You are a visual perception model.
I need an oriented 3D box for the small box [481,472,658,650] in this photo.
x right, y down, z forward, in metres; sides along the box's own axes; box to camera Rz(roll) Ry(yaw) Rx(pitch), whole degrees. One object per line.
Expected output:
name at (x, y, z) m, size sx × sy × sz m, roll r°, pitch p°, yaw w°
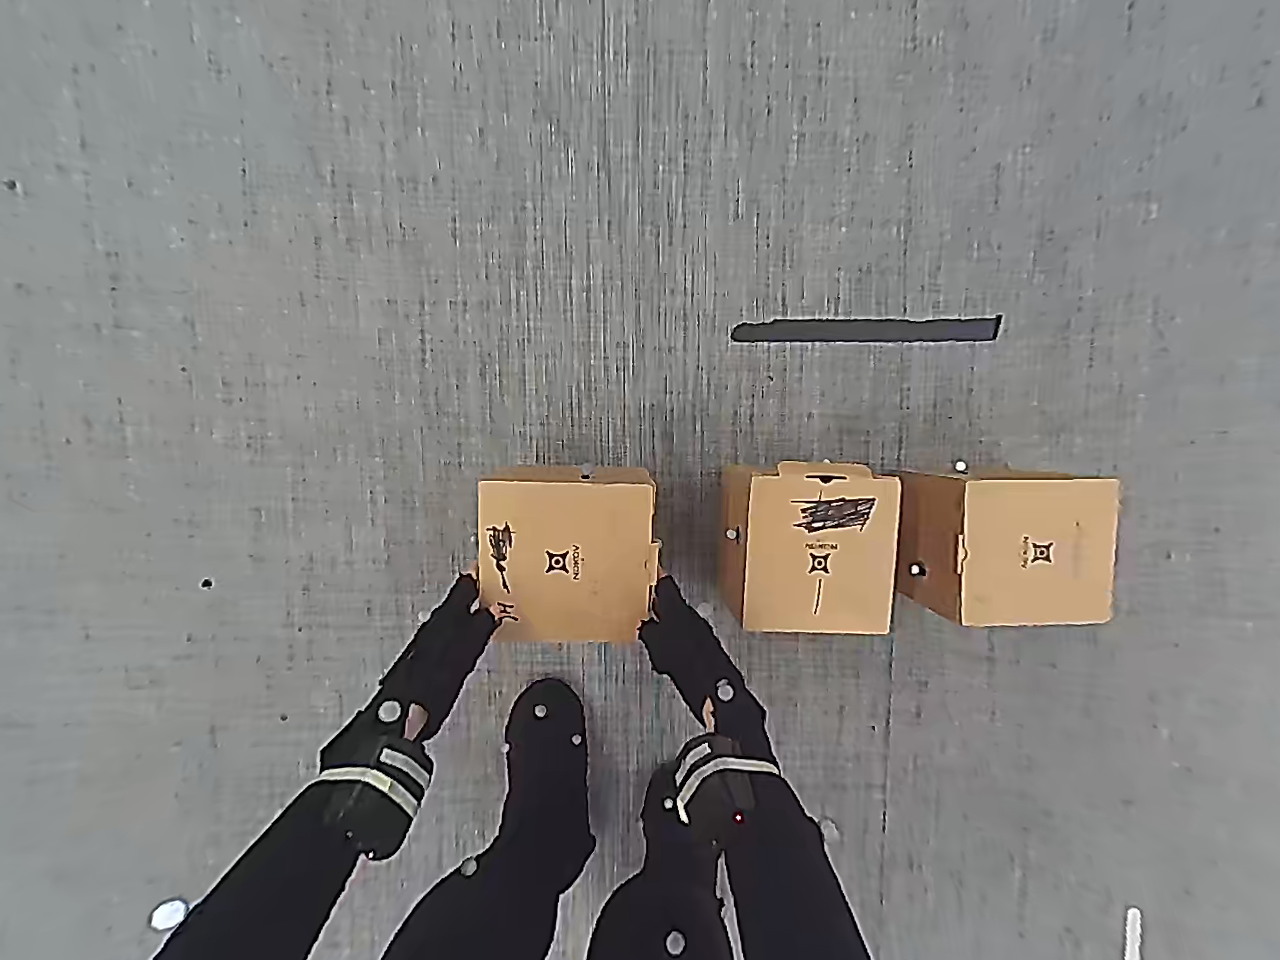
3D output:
small box at (-0.077, 0.082, 0.623) m, size 0.179 × 0.176 × 0.168 m, roll 2°, pitch 97°, yaw -3°

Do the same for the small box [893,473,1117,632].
small box at (0.432, 0.080, 0.672) m, size 0.179 × 0.176 × 0.168 m, roll -1°, pitch 96°, yaw -2°

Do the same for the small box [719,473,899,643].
small box at (0.193, 0.084, 0.665) m, size 0.168 × 0.176 × 0.179 m, roll 2°, pitch 95°, yaw -1°
